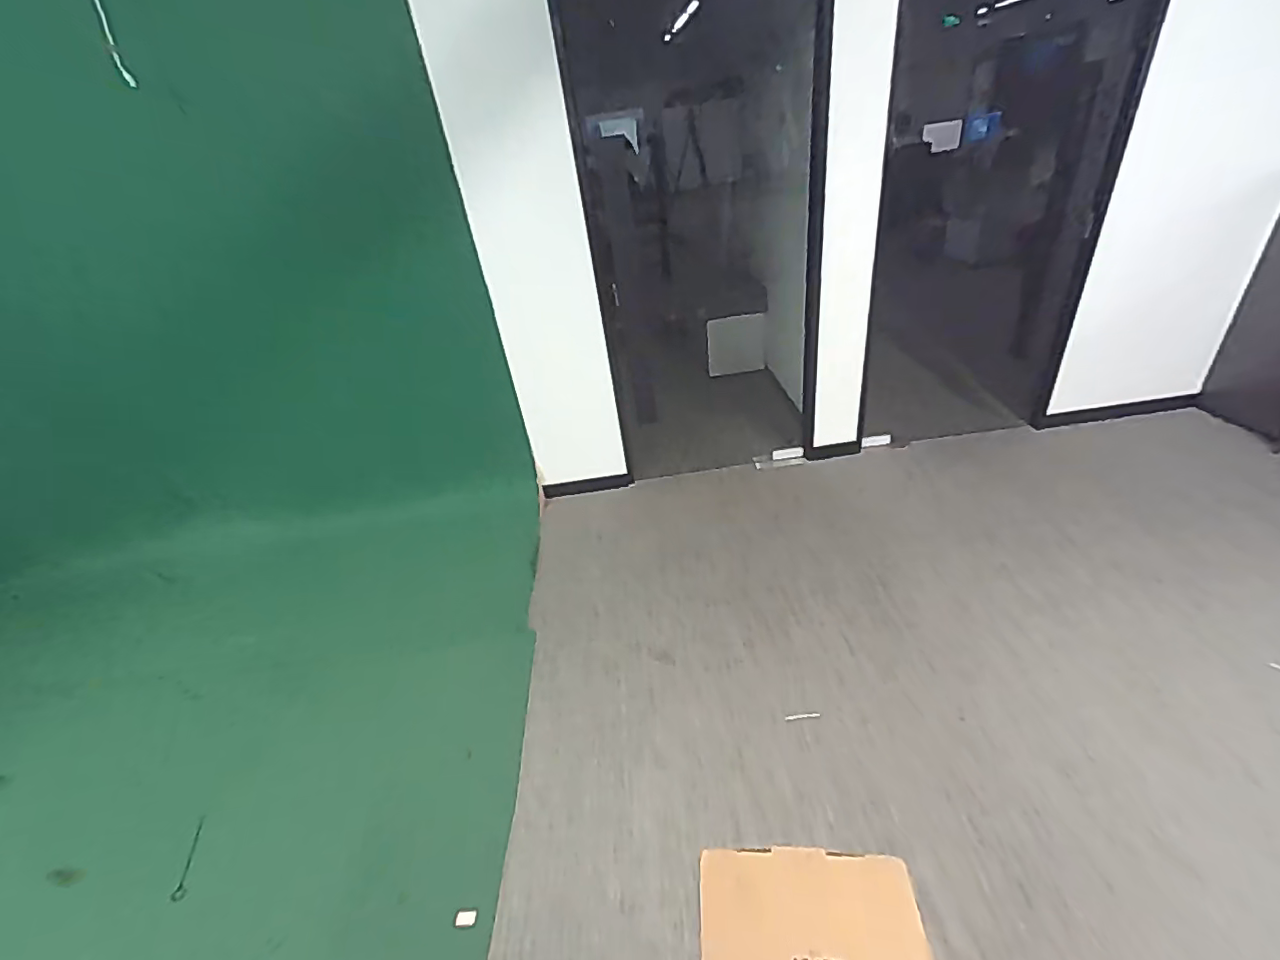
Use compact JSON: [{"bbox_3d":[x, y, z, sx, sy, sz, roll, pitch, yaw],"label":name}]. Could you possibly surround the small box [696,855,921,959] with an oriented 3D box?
[{"bbox_3d":[0.127,0.433,0.426,0.168,0.176,0.179,-1,35,6],"label":"small box"}]
